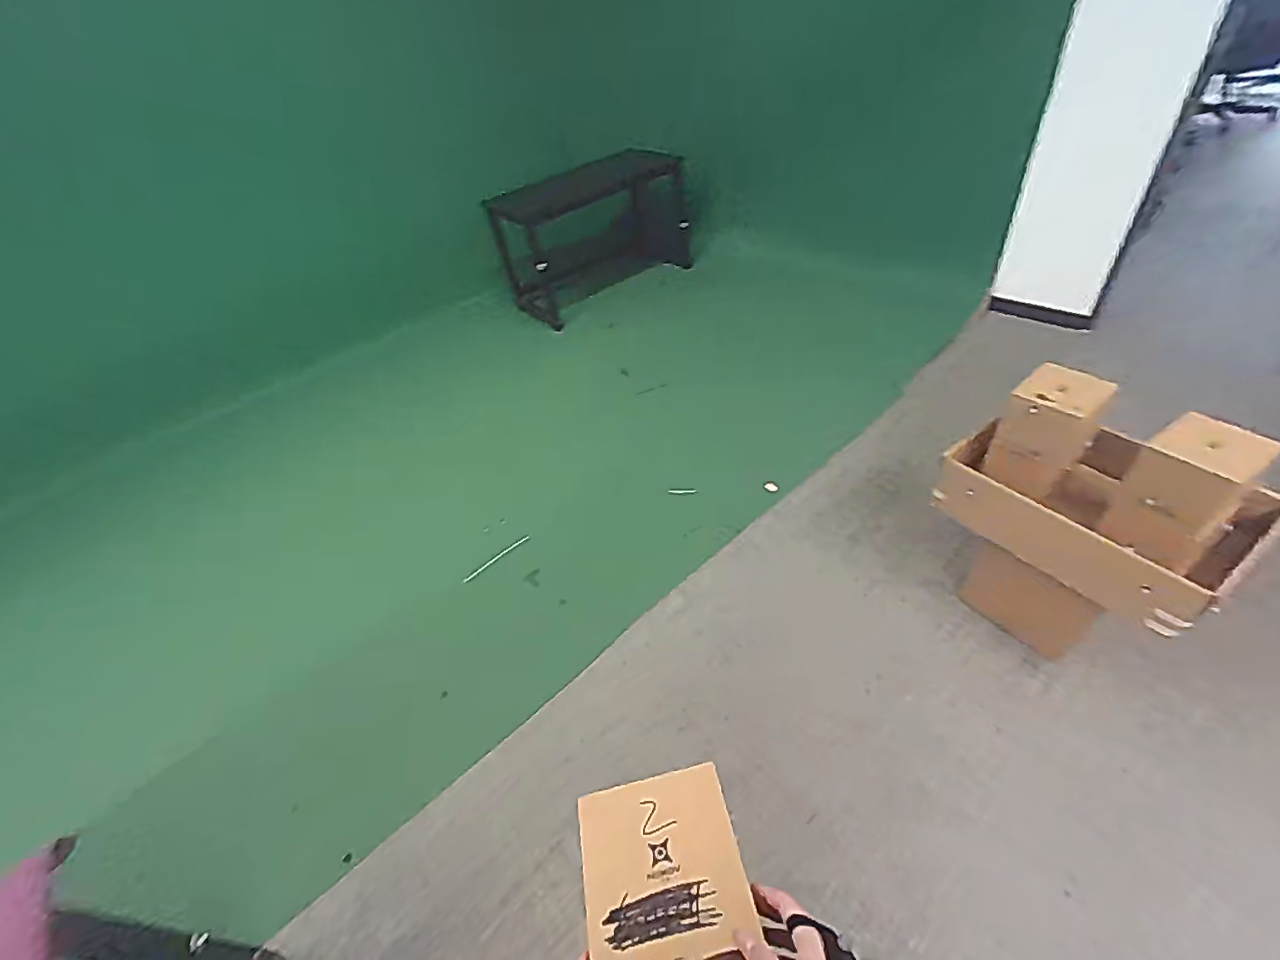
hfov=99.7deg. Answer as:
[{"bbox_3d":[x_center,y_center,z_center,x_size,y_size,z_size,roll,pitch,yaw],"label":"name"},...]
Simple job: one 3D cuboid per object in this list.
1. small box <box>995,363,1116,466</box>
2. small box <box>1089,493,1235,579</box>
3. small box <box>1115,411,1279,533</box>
[{"bbox_3d":[1.050,-0.168,1.382,0.179,0.176,0.168,-32,46,-21],"label":"small box"},{"bbox_3d":[1.237,0.102,1.297,0.179,0.176,0.168,-28,45,-16],"label":"small box"},{"bbox_3d":[1.209,-0.017,1.190,0.179,0.176,0.168,-28,45,-16],"label":"small box"}]
